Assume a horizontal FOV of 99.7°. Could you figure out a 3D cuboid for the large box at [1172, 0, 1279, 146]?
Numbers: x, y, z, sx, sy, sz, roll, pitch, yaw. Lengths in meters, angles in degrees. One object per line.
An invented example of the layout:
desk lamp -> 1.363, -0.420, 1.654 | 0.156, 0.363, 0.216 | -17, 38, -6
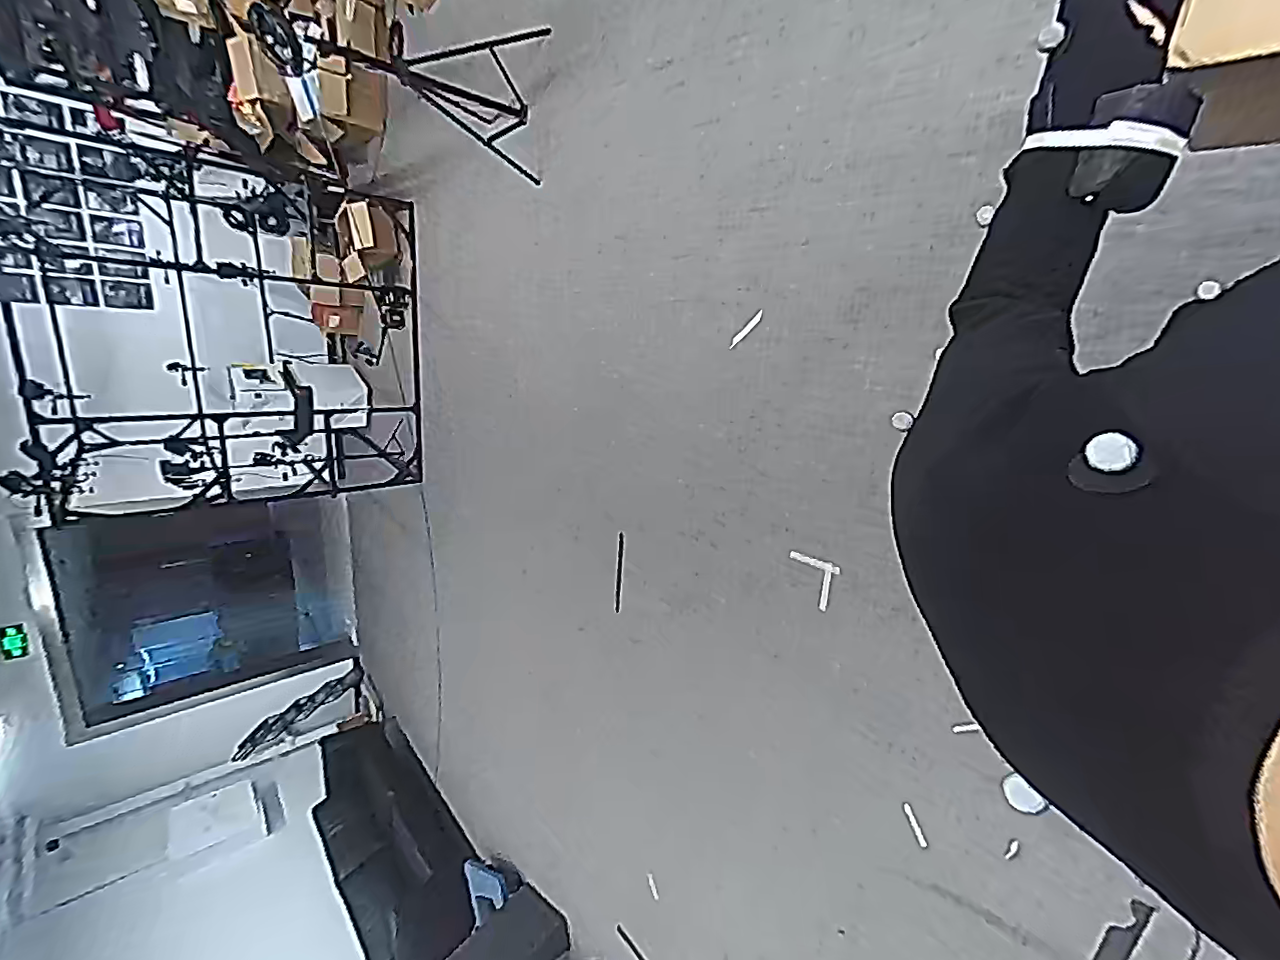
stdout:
large box -> 0.590, -0.403, 0.273 | 0.408, 0.320, 0.320 | 19, 118, 42
